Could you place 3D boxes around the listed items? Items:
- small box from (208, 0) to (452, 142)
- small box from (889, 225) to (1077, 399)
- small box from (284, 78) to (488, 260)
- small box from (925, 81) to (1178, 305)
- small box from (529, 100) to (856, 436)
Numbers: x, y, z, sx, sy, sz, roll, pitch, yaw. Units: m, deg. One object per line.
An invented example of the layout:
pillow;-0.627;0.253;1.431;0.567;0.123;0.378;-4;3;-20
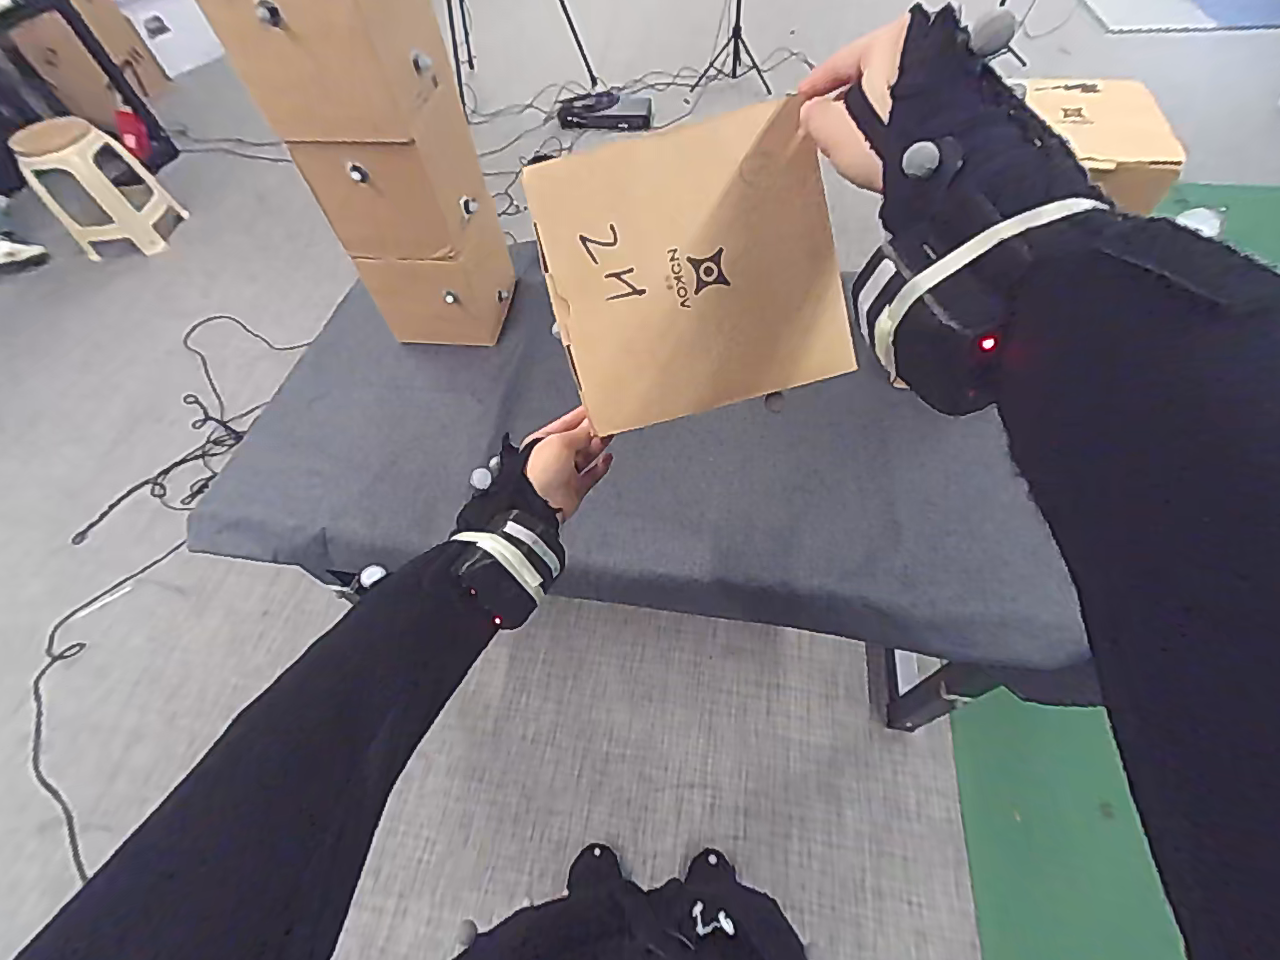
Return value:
small box;-0.343;-0.510;0.613;0.179;0.176;0.168;5;59;6
small box;0.464;-0.243;0.767;0.168;0.176;0.179;8;59;10
small box;-0.336;-0.430;0.756;0.179;0.176;0.168;4;59;5
small box;0.448;-0.327;0.627;0.168;0.176;0.179;9;60;10
small box;0.033;-0.139;0.408;0.179;0.176;0.168;-14;100;1
